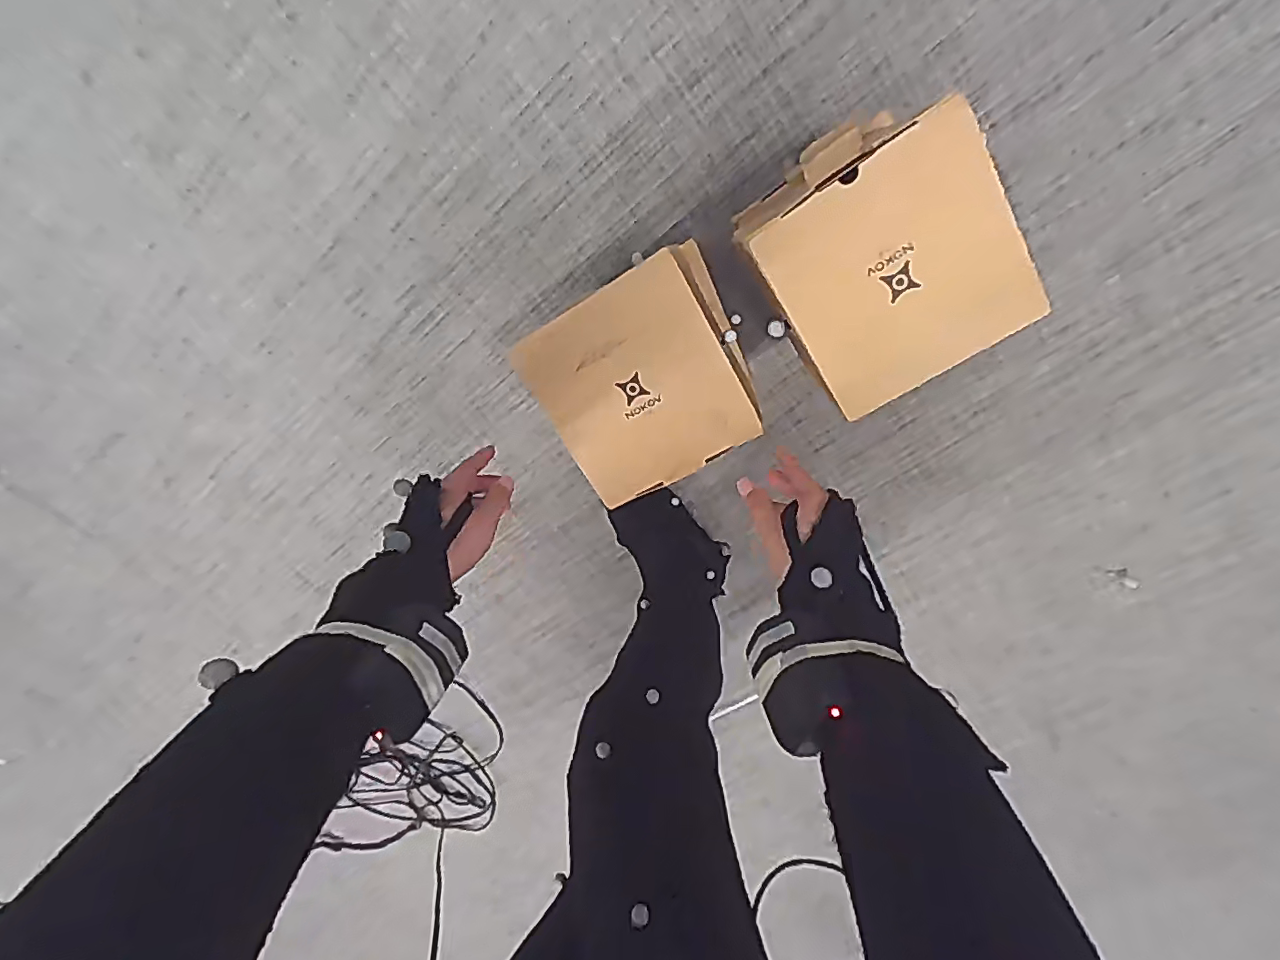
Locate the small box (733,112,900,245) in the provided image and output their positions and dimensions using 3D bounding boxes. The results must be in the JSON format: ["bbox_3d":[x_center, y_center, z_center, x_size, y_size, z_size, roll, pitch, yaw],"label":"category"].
[{"bbox_3d":[0.220,-0.269,0.622,0.168,0.176,0.179,-31,107,17],"label":"small box"}]

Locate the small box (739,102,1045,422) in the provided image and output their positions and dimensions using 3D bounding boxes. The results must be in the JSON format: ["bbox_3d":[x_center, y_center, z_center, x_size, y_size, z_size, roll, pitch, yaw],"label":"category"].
[{"bbox_3d":[0.203,-0.185,0.482,0.168,0.176,0.179,-31,107,18],"label":"small box"}]

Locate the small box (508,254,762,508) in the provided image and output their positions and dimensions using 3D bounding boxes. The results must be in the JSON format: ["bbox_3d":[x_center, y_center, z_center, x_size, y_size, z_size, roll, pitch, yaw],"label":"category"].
[{"bbox_3d":[0.005,-0.107,0.540,0.168,0.176,0.179,-27,108,16],"label":"small box"}]
